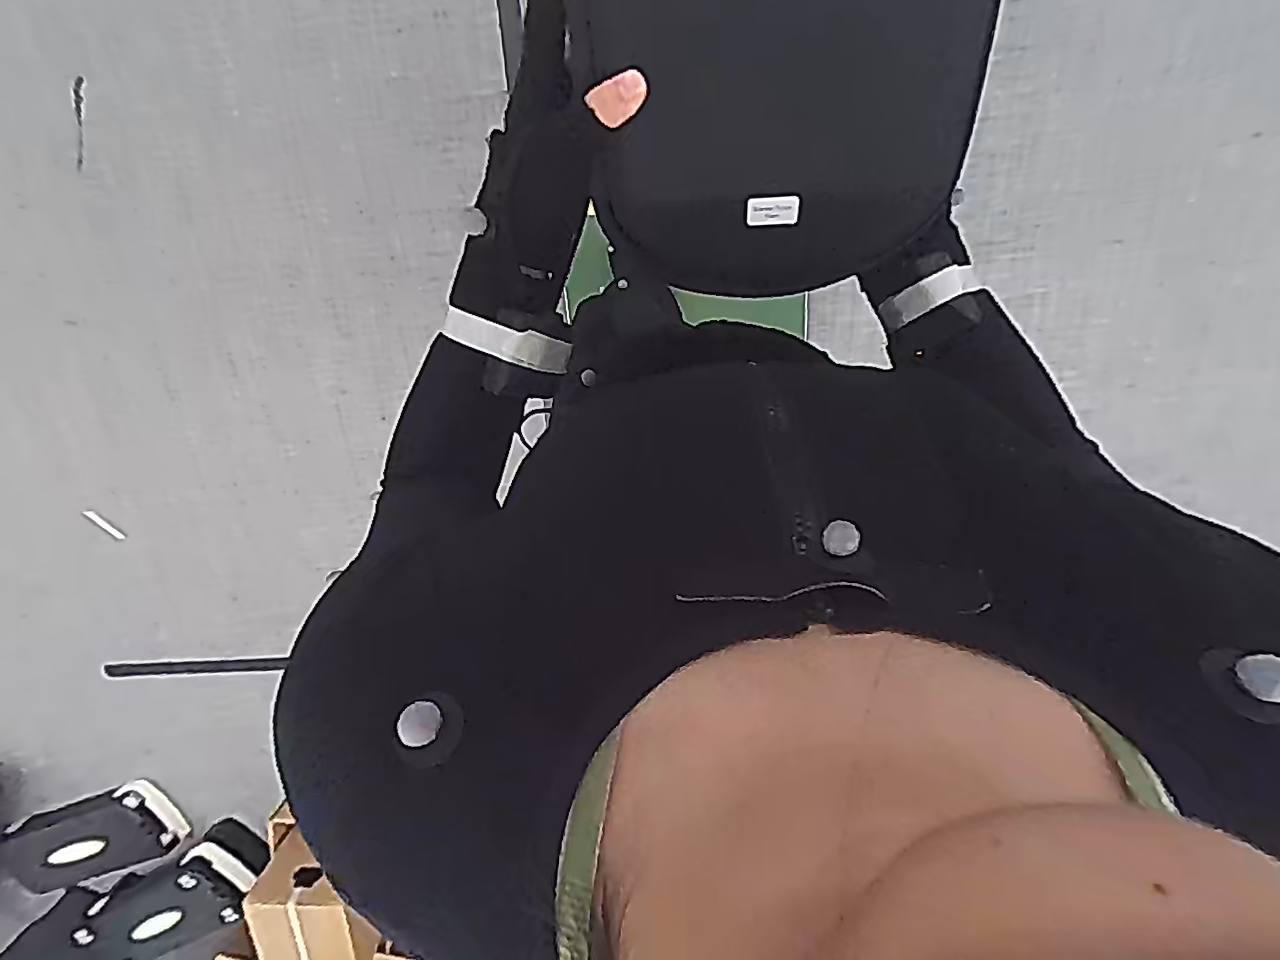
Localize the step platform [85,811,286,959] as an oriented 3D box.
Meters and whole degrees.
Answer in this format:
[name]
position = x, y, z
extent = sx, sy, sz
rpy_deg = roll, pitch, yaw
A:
[step platform]
position = -1.701, 1.525, 2.026
extent = 0.684, 0.204, 0.286
rpy_deg = -32, 106, 11
